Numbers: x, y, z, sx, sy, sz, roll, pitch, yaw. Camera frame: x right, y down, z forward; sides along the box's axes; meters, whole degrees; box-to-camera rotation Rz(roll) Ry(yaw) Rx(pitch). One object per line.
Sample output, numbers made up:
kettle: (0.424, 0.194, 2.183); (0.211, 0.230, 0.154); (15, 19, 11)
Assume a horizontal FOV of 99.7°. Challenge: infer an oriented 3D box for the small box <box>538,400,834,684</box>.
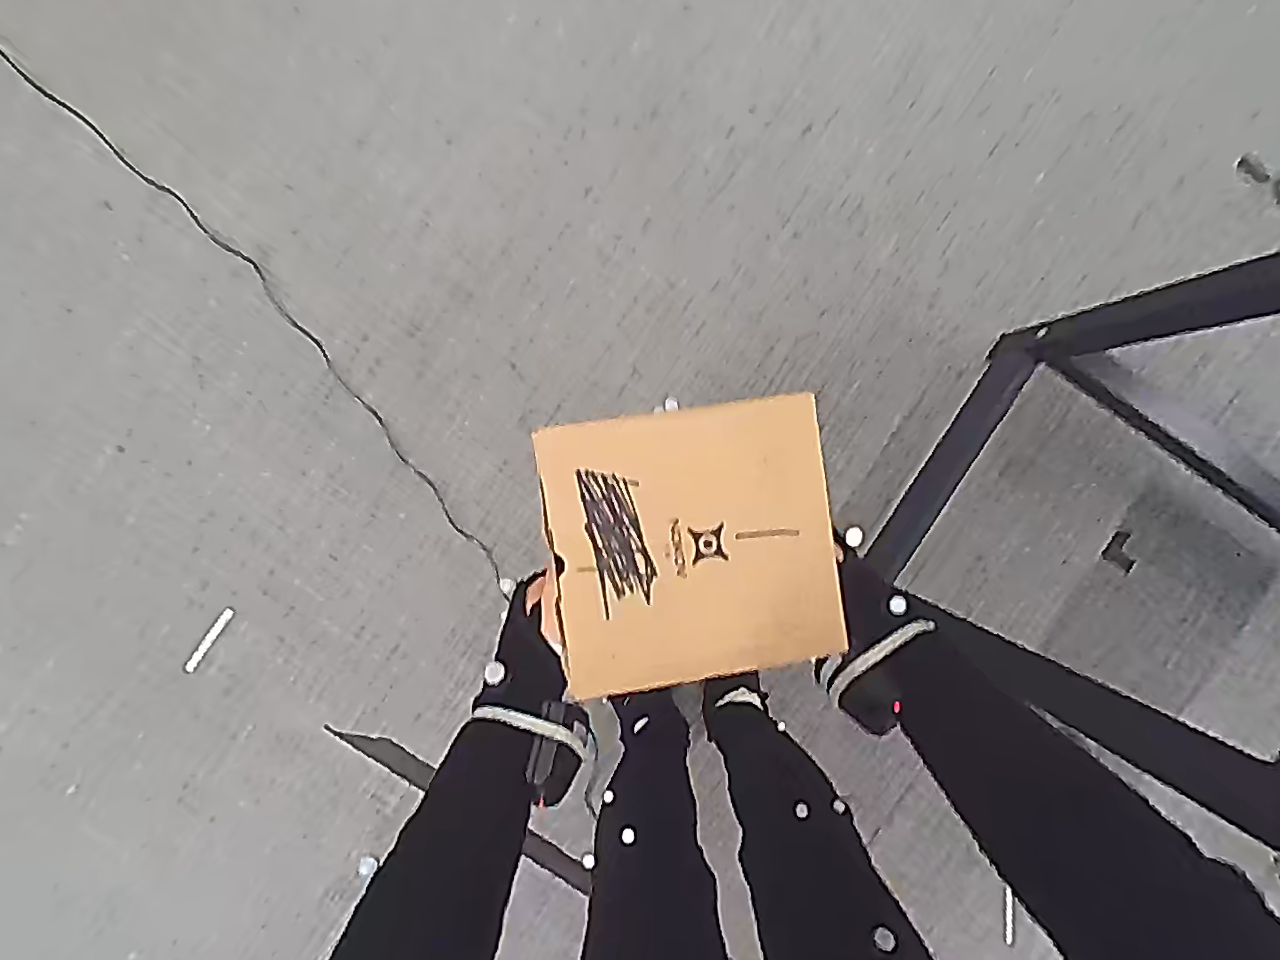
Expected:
small box: (0.027, 0.039, 0.429); (0.179, 0.176, 0.168); (-9, 91, -4)
